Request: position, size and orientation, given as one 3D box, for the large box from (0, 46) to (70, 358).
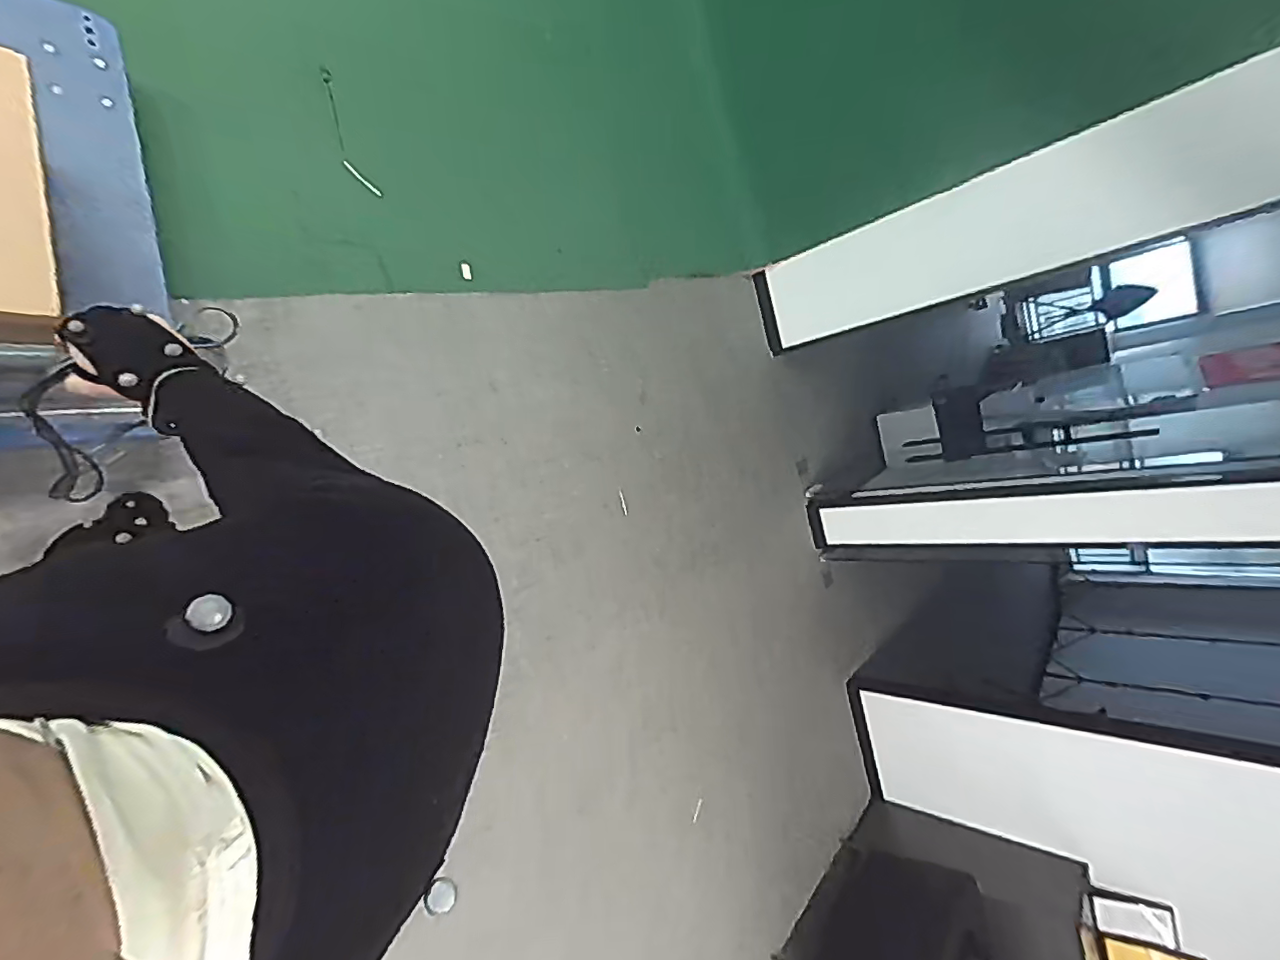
[{"bbox_3d":[-1.122,-0.422,0.819,0.320,0.320,0.408,-8,90,-46],"label":"large box"}]
